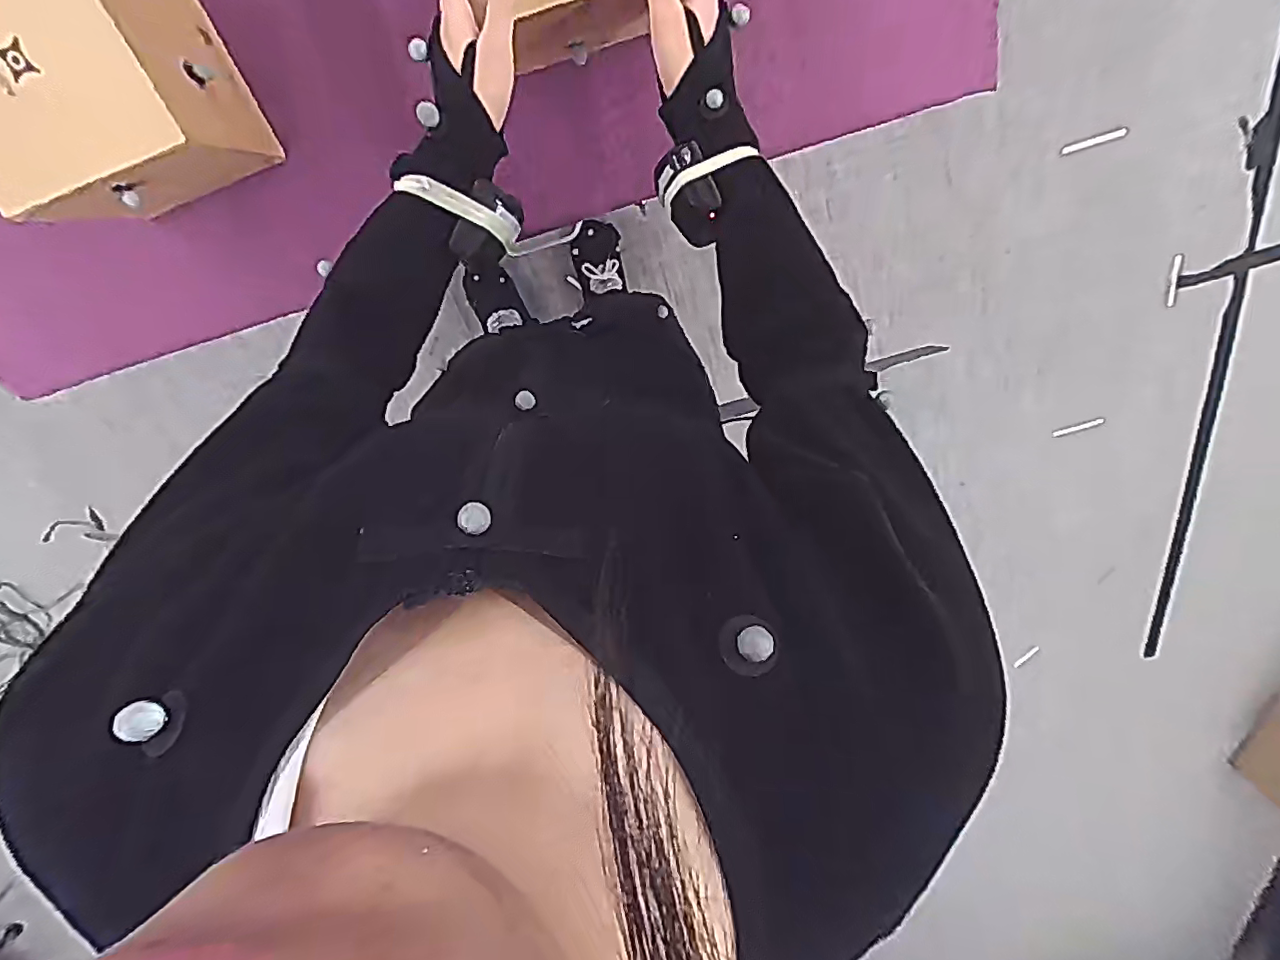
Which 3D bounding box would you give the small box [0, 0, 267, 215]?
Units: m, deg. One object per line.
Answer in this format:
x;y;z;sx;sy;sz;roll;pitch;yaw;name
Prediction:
-0.473;-0.350;0.471;0.179;0.176;0.168;-19;118;5;small box

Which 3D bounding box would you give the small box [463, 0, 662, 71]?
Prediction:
-0.078;-0.475;0.442;0.168;0.176;0.179;-14;117;2;small box
